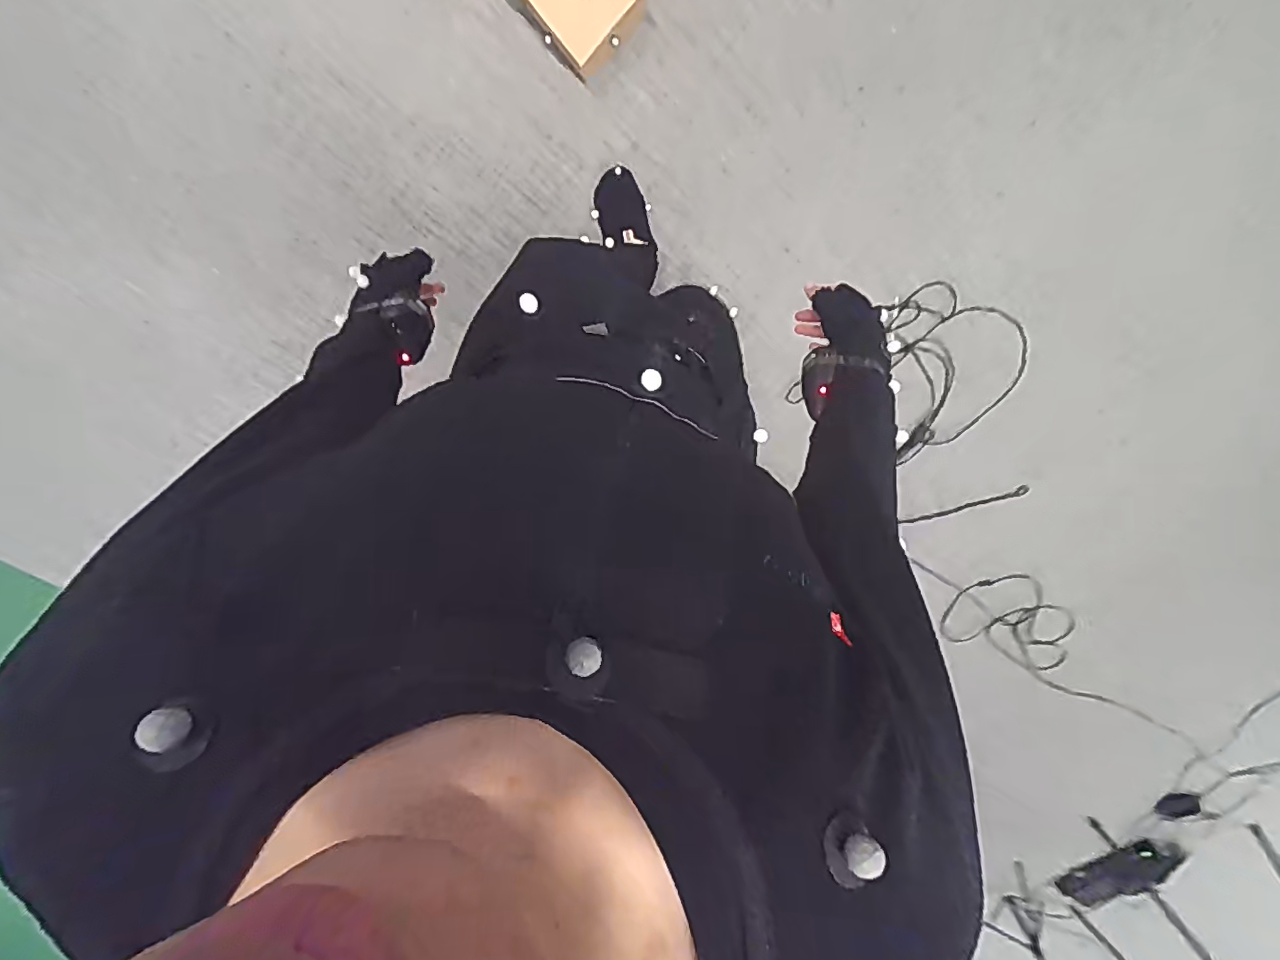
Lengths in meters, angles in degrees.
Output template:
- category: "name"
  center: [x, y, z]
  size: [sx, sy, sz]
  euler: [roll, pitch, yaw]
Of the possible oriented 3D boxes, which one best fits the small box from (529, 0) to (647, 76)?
- category: "small box"
  center: [-0.097, -0.894, 0.994]
  size: [0.179, 0.176, 0.168]
  euler: [-40, 112, 18]
